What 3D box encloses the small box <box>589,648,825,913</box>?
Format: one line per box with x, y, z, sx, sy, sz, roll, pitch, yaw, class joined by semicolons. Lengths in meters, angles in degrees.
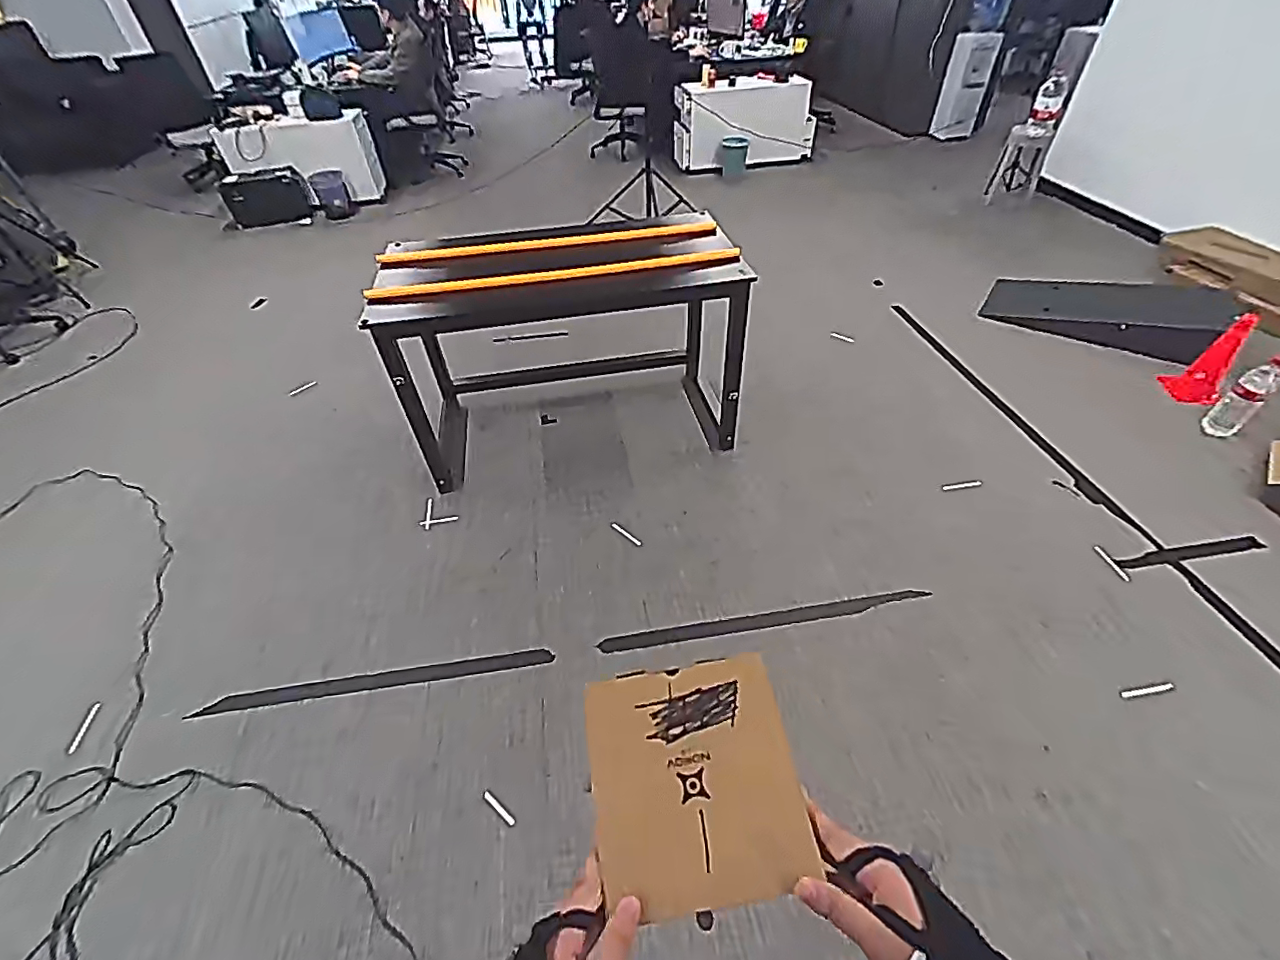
0.048;0.283;0.508;0.168;0.176;0.179;-9;54;-4;small box
